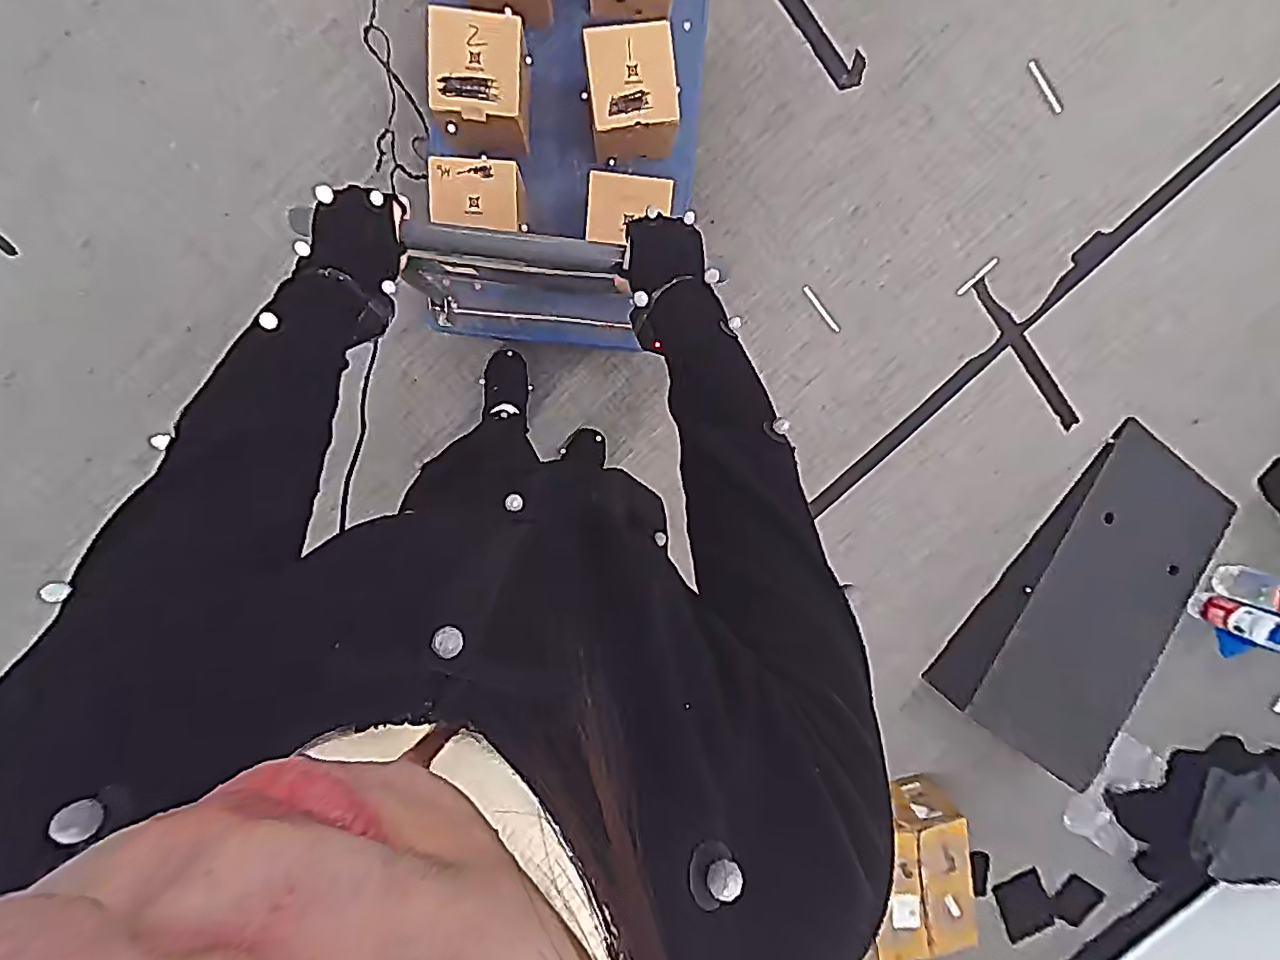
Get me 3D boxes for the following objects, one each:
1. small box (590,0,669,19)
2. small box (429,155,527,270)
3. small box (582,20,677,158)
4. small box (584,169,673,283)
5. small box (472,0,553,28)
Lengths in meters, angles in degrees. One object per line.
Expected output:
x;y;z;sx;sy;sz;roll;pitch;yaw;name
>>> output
-0.017;-1.048;1.053;0.168;0.176;0.179;1;100;-5;small box
-0.325;-0.540;1.116;0.168;0.176;0.179;0;101;-6;small box
-0.022;-0.780;1.099;0.168;0.176;0.179;-8;100;-3;small box
-0.029;-0.526;1.145;0.168;0.176;0.179;4;99;-6;small box
-0.250;-1.026;1.035;0.168;0.176;0.179;6;100;-6;small box
